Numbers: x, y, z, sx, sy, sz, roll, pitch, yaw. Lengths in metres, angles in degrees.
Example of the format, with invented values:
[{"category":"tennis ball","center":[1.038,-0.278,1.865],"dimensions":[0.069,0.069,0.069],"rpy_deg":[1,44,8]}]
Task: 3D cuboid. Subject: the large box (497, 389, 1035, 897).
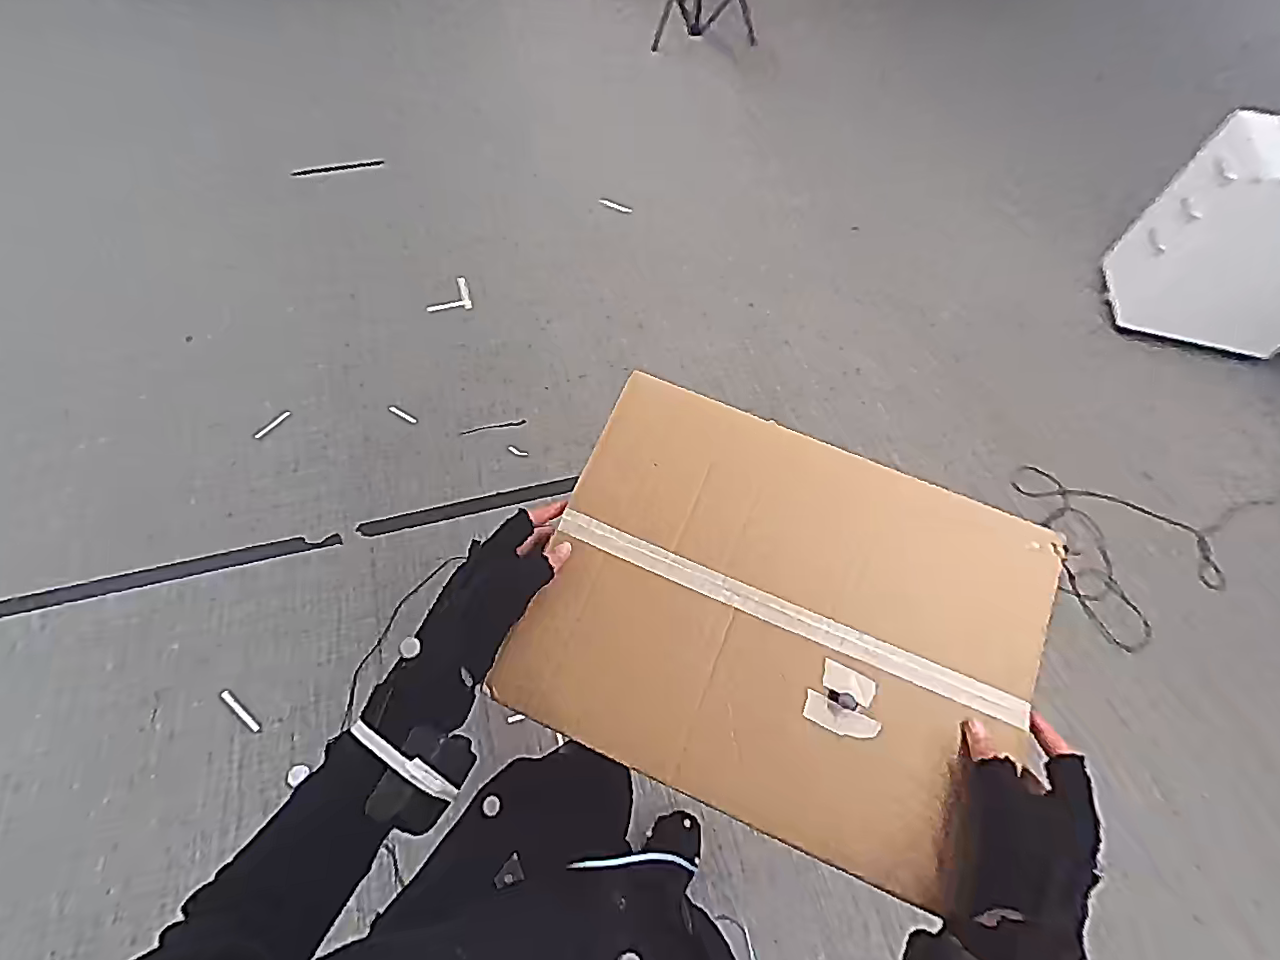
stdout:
[{"category":"large box","center":[0.116,0.154,0.611],"dimensions":[0.408,0.320,0.320],"rpy_deg":[22,76,6]}]
